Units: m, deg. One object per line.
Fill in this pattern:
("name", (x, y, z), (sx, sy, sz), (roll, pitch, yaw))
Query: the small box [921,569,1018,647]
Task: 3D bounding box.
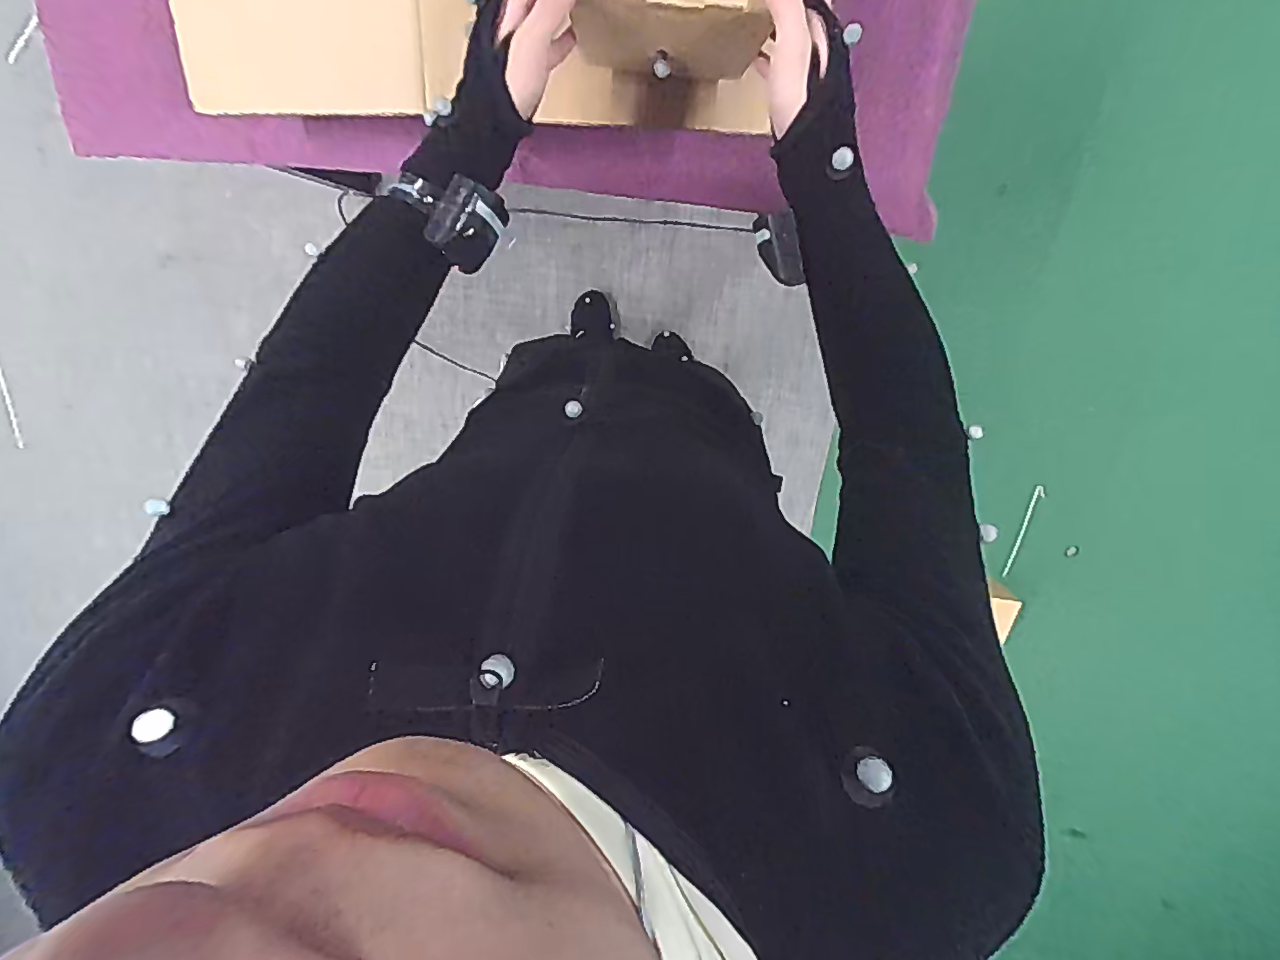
("small box", (1.025, 0.397, 1.698), (0.179, 0.176, 0.168), (10, 110, -1))
